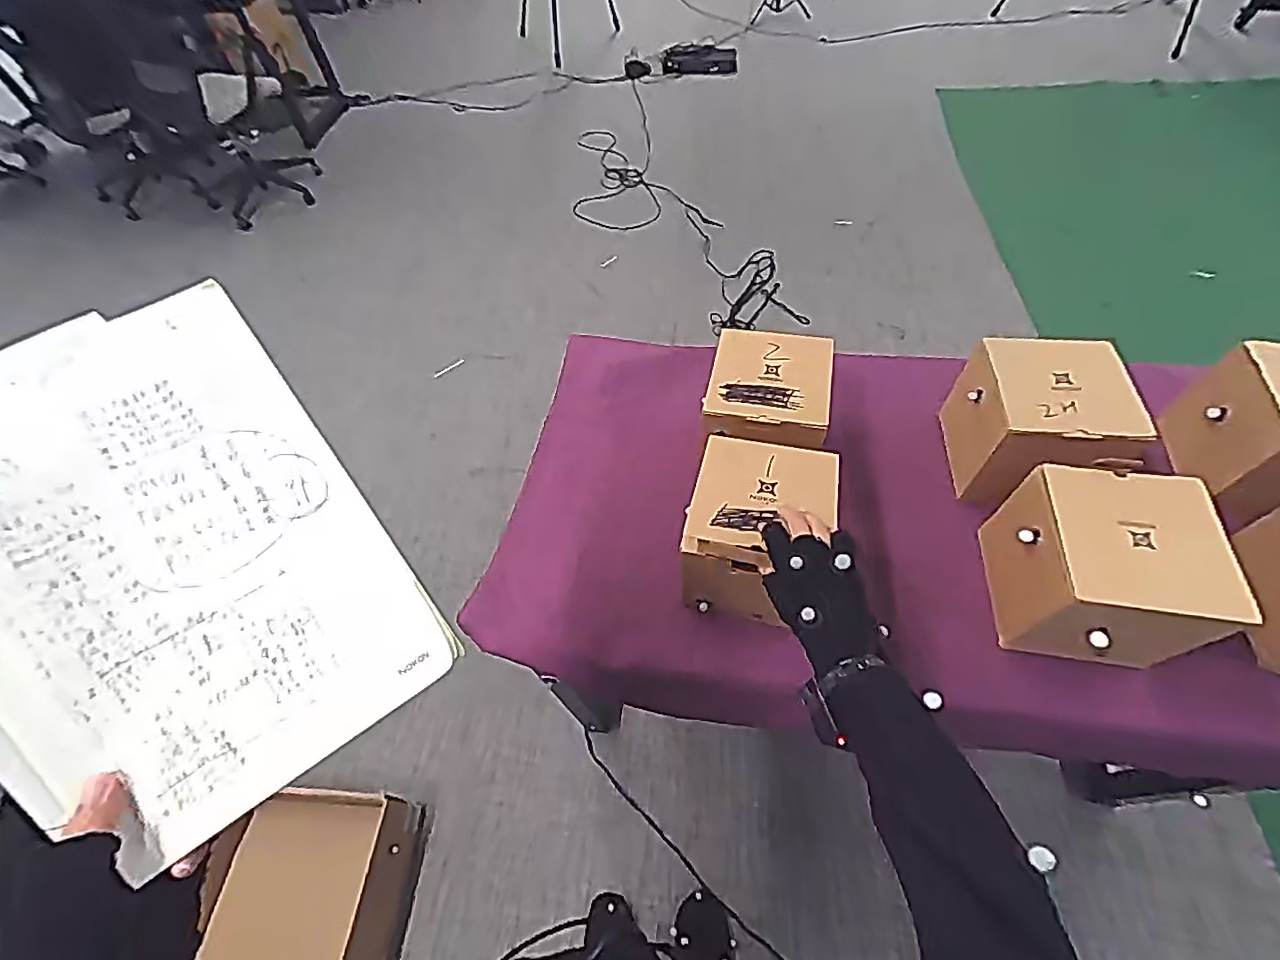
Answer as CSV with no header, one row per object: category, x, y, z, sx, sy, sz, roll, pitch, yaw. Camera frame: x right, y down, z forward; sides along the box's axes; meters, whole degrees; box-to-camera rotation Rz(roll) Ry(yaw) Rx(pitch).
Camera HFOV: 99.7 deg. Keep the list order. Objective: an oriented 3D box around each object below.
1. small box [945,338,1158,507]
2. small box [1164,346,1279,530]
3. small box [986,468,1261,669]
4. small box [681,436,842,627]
small box,0.558,-0.076,0.769,0.168,0.176,0.179,5,56,9
small box,0.868,-0.051,0.725,0.168,0.176,0.179,9,57,11
small box,0.545,0.111,0.646,0.168,0.176,0.179,7,57,10
small box,0.154,0.072,0.705,0.168,0.176,0.179,11,57,12
